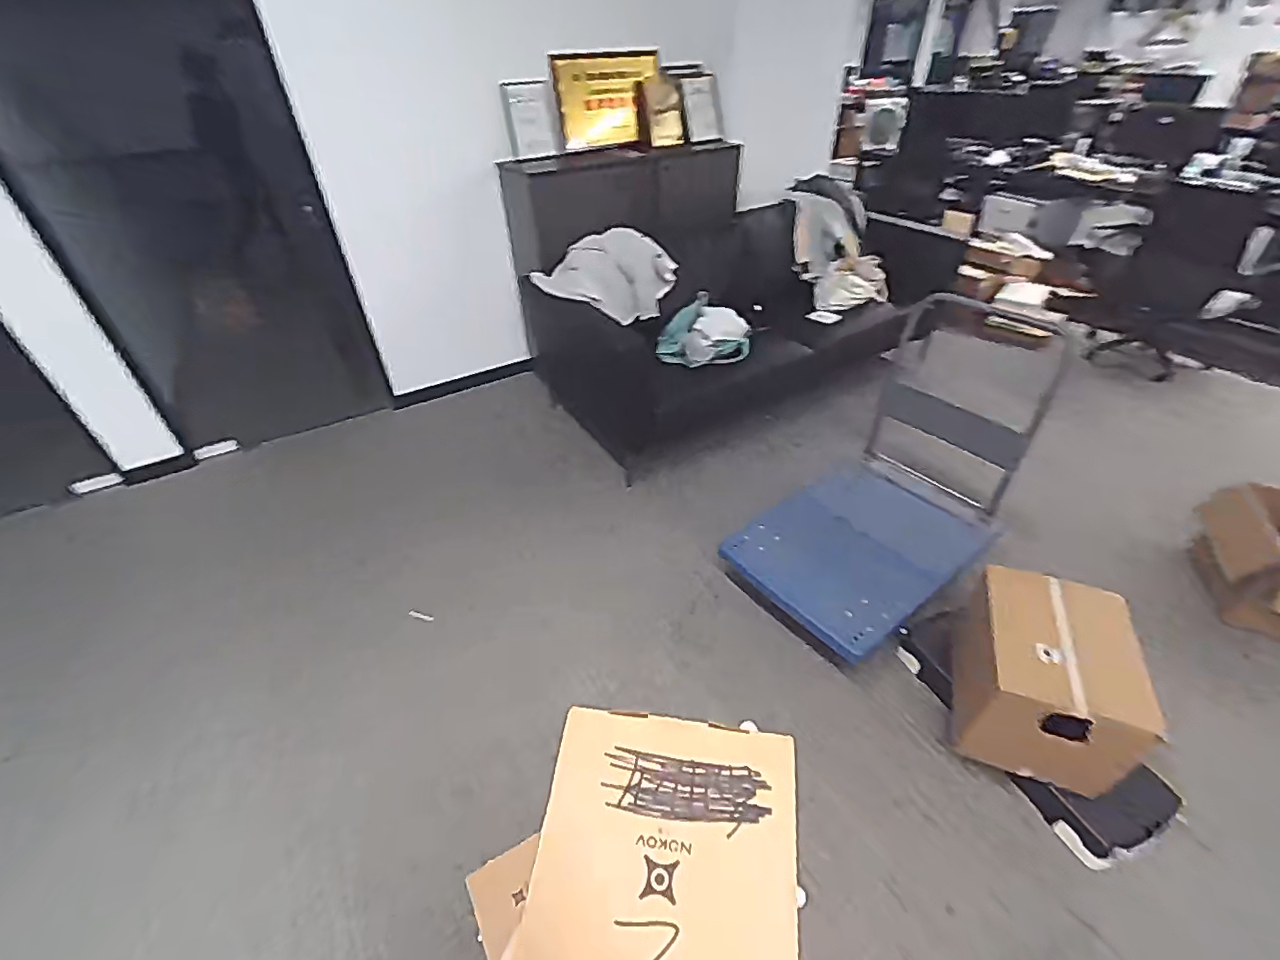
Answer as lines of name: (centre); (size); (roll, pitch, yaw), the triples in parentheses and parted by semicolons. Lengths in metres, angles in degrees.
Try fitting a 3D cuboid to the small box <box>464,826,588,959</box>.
small box: (-0.214, 0.821, 1.039); (0.179, 0.176, 0.168); (-20, 43, -22)
